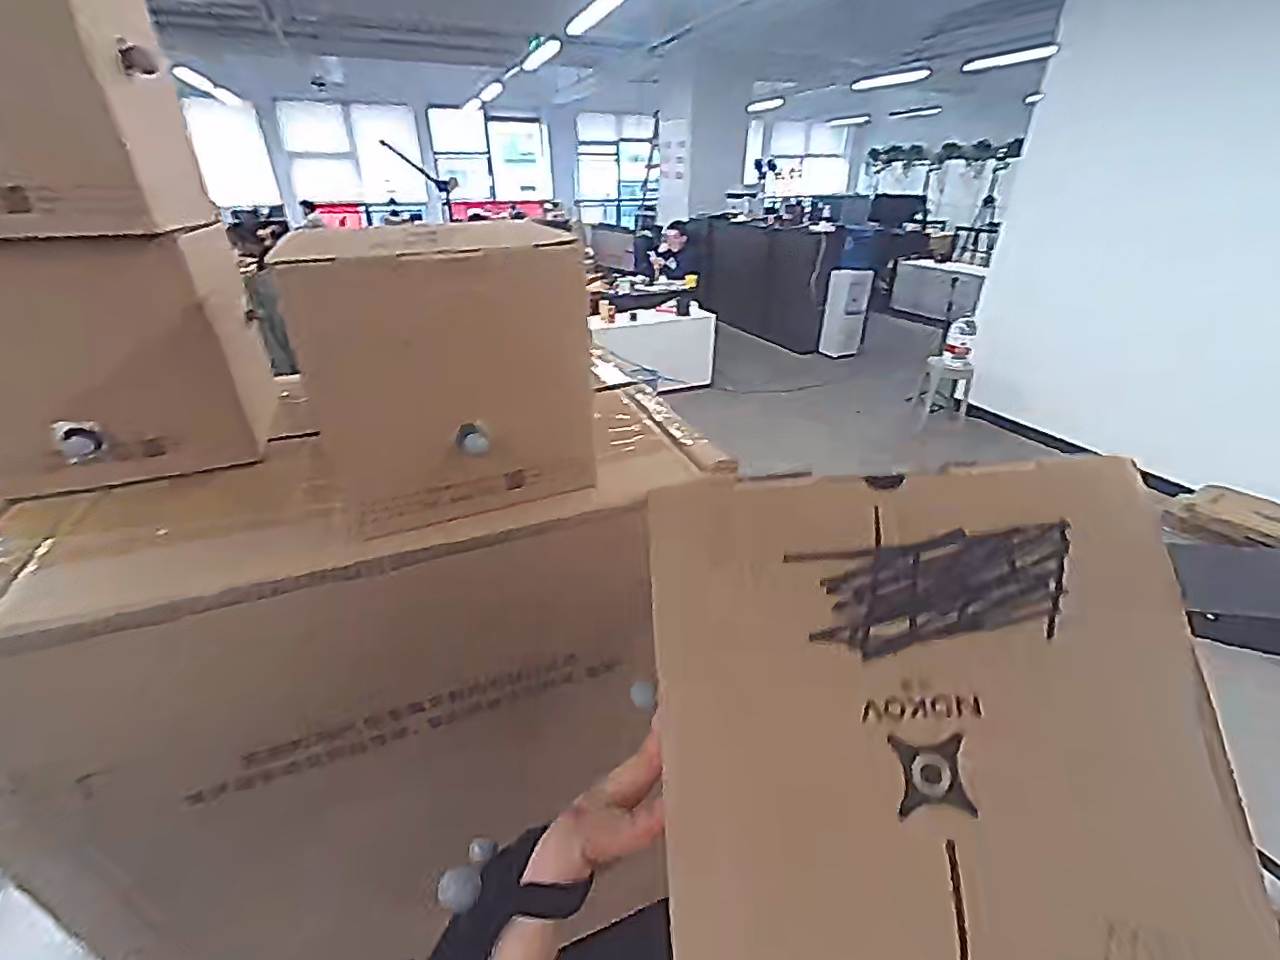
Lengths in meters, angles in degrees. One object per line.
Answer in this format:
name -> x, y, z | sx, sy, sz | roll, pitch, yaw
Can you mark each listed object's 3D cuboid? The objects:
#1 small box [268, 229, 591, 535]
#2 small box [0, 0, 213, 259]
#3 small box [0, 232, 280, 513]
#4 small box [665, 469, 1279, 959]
small box -> -0.142, -0.085, 0.401 | 0.168, 0.176, 0.179 | -14, 33, -20
small box -> -0.405, -0.234, 0.337 | 0.168, 0.176, 0.179 | -13, 31, -22
small box -> -0.408, -0.097, 0.428 | 0.168, 0.176, 0.179 | -15, 32, -23
small box -> 0.098, 0.105, 0.246 | 0.168, 0.179, 0.176 | -4, -15, 5
